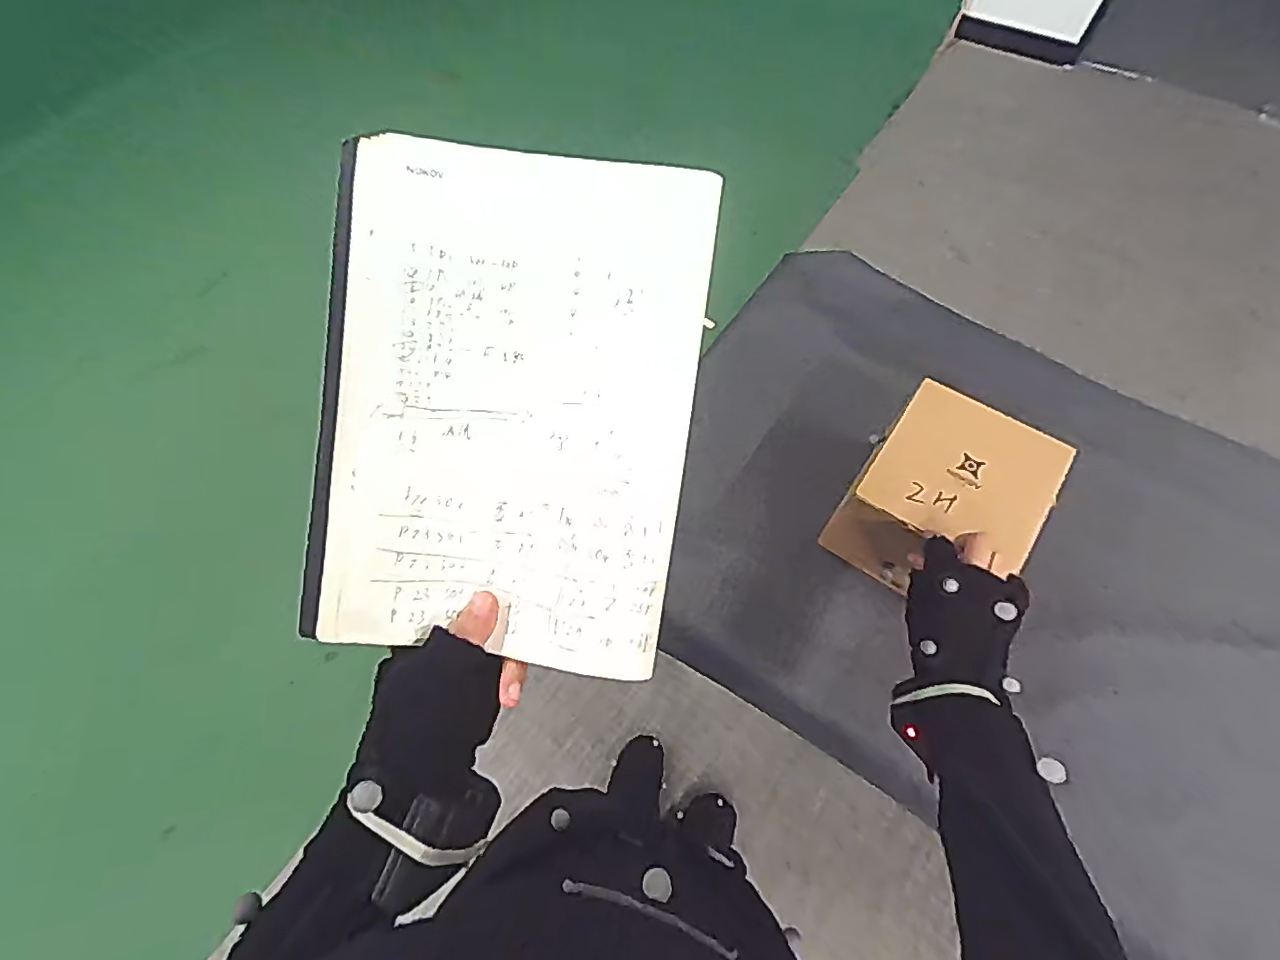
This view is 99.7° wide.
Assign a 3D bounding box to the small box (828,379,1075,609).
[{"bbox_3d":[0.345,0.024,0.633,0.168,0.176,0.179,32,72,18],"label":"small box"}]
